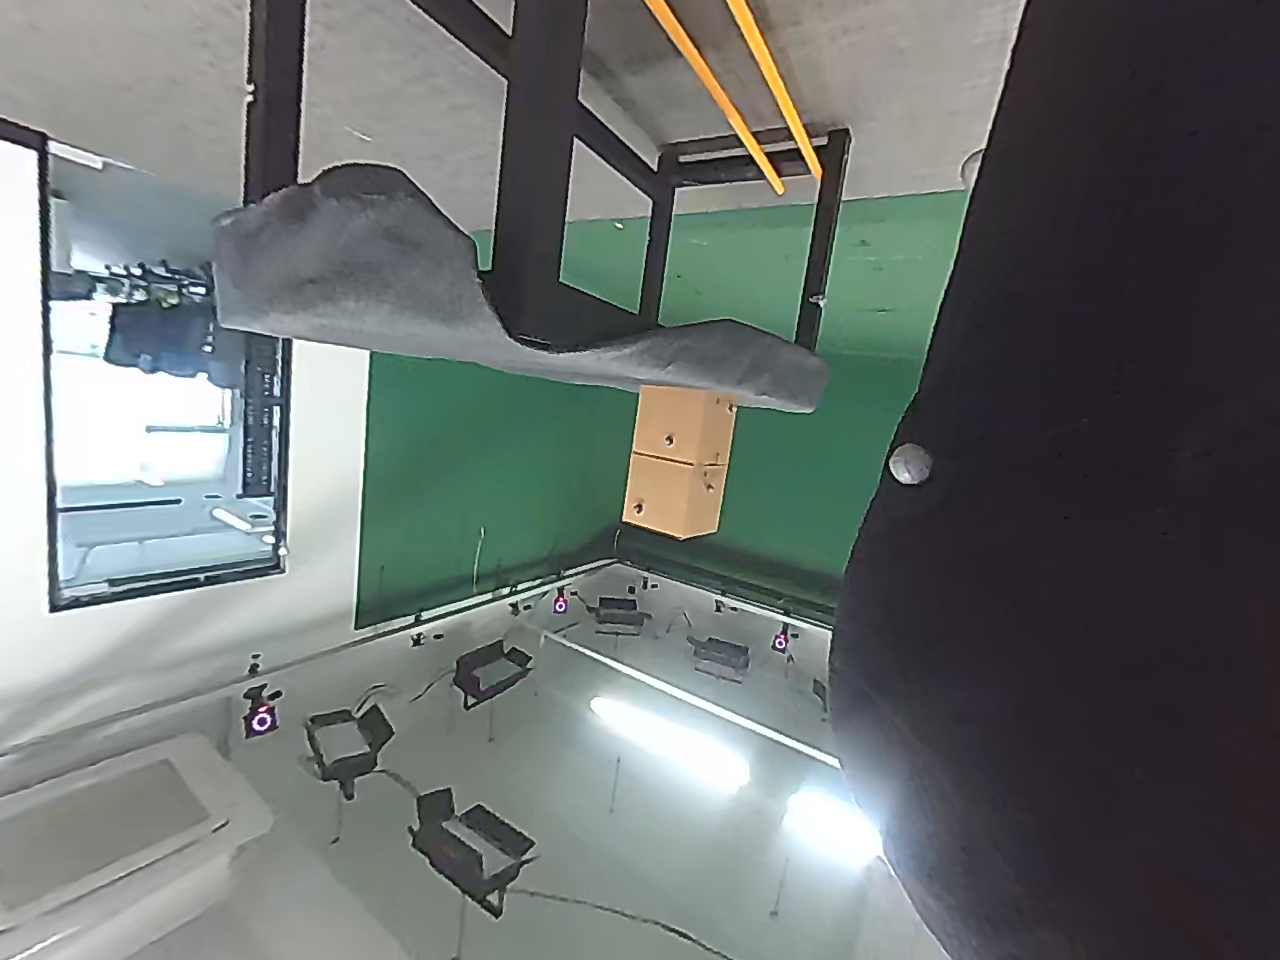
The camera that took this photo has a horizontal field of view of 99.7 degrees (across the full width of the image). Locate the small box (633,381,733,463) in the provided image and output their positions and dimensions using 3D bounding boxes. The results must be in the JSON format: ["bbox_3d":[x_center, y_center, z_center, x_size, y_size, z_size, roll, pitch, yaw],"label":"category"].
[{"bbox_3d":[0.107,-0.138,1.275,0.179,0.176,0.168,14,-170,33],"label":"small box"}]

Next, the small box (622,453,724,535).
[{"bbox_3d":[0.082,0.023,1.298,0.179,0.176,0.168,14,-170,36],"label":"small box"}]
